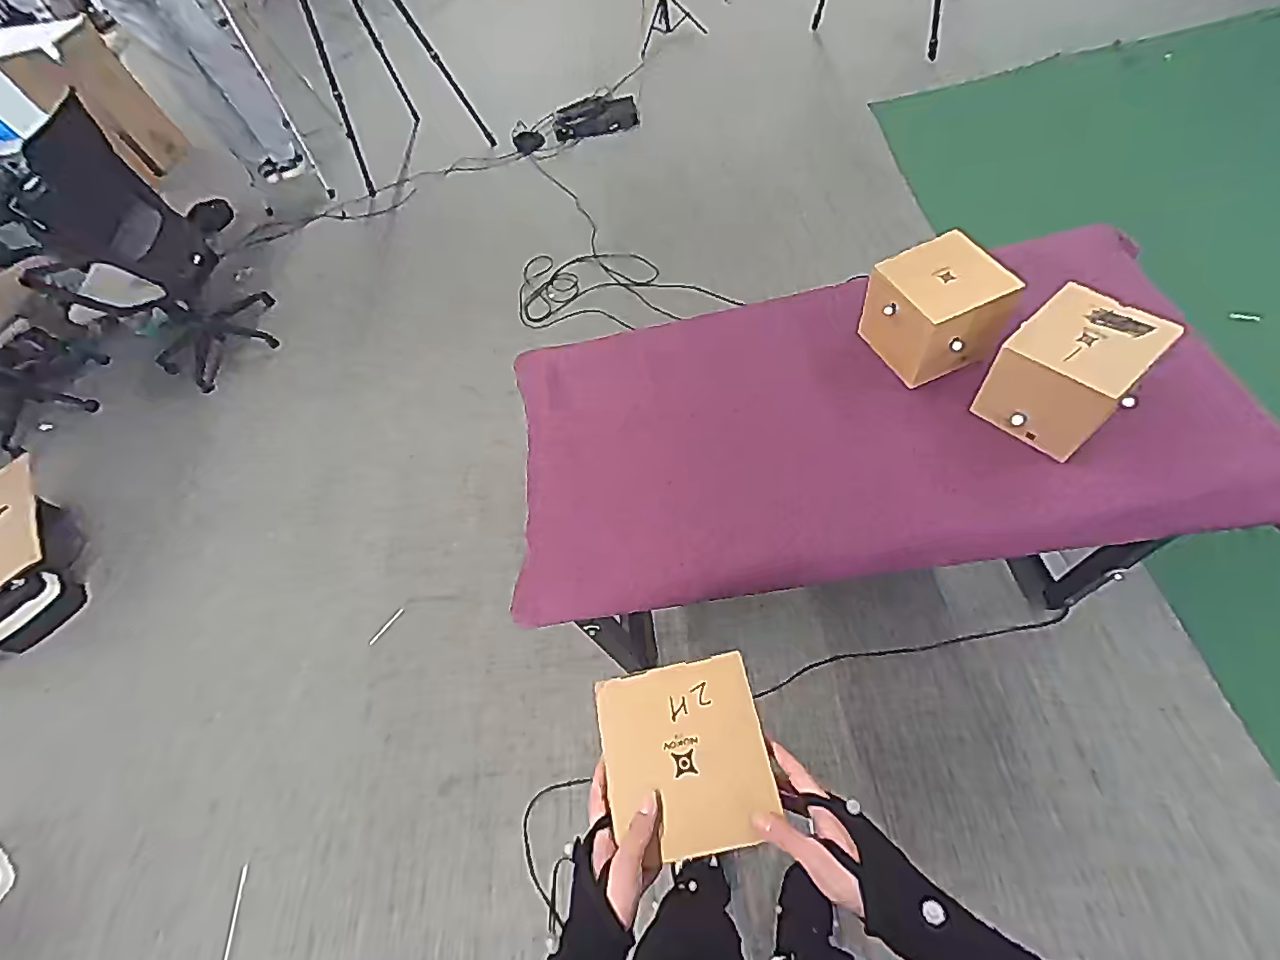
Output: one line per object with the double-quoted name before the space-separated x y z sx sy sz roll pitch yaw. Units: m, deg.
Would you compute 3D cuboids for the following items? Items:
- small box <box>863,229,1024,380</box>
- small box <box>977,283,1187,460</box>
"small box" 0.529 -0.304 0.973 0.168 0.176 0.179 -23 57 -1
"small box" 0.677 -0.167 0.856 0.179 0.176 0.168 -40 59 -10
